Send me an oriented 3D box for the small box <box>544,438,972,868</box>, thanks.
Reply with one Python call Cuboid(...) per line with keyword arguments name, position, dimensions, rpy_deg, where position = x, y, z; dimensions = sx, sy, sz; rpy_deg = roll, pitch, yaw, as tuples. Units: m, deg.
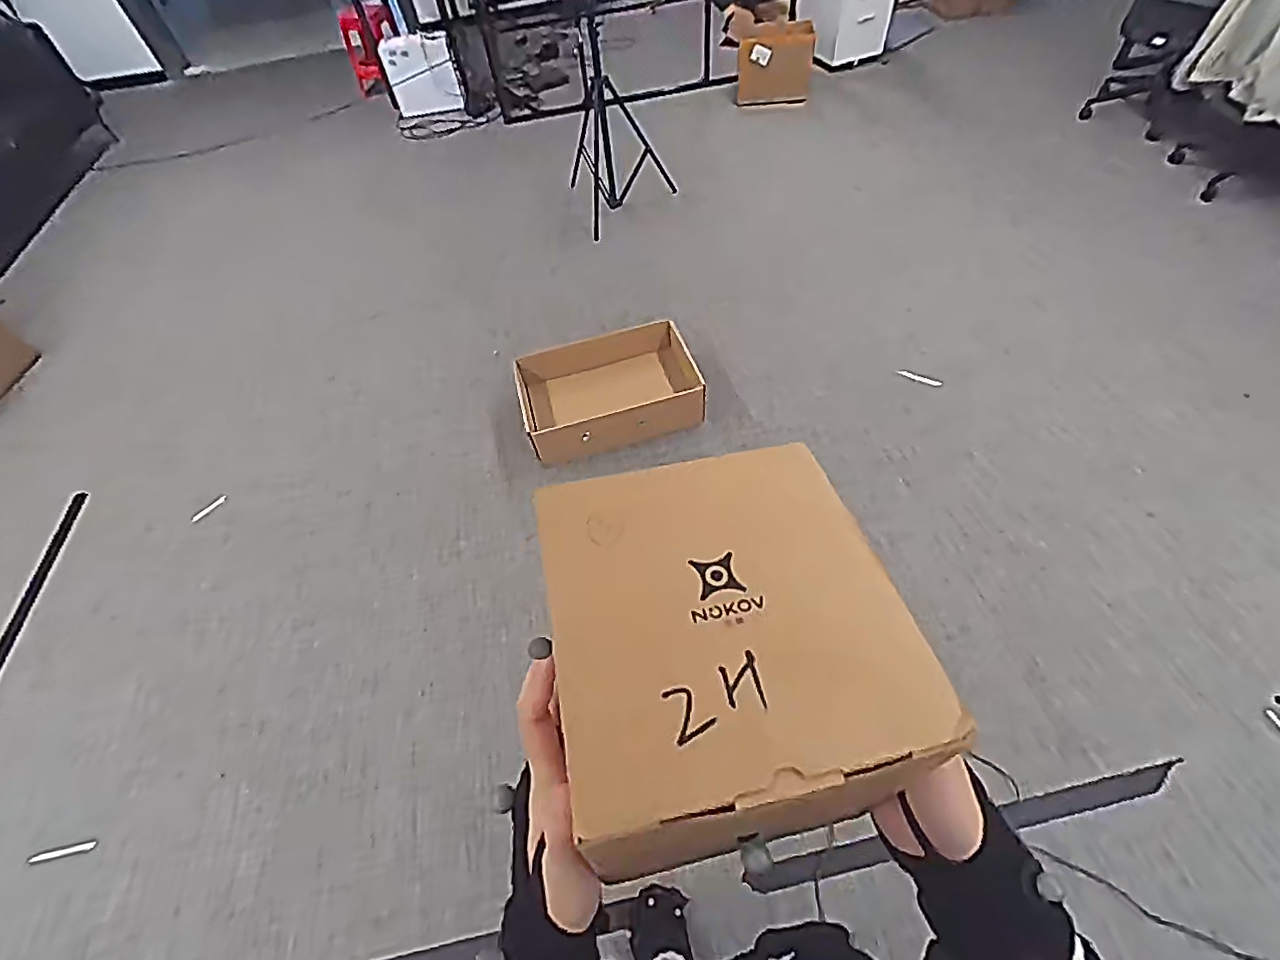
Cuboid(name="small box", position=(0.040, 0.103, 0.324), dimensions=(0.168, 0.176, 0.179), rpy_deg=(-10, 50, -8))
